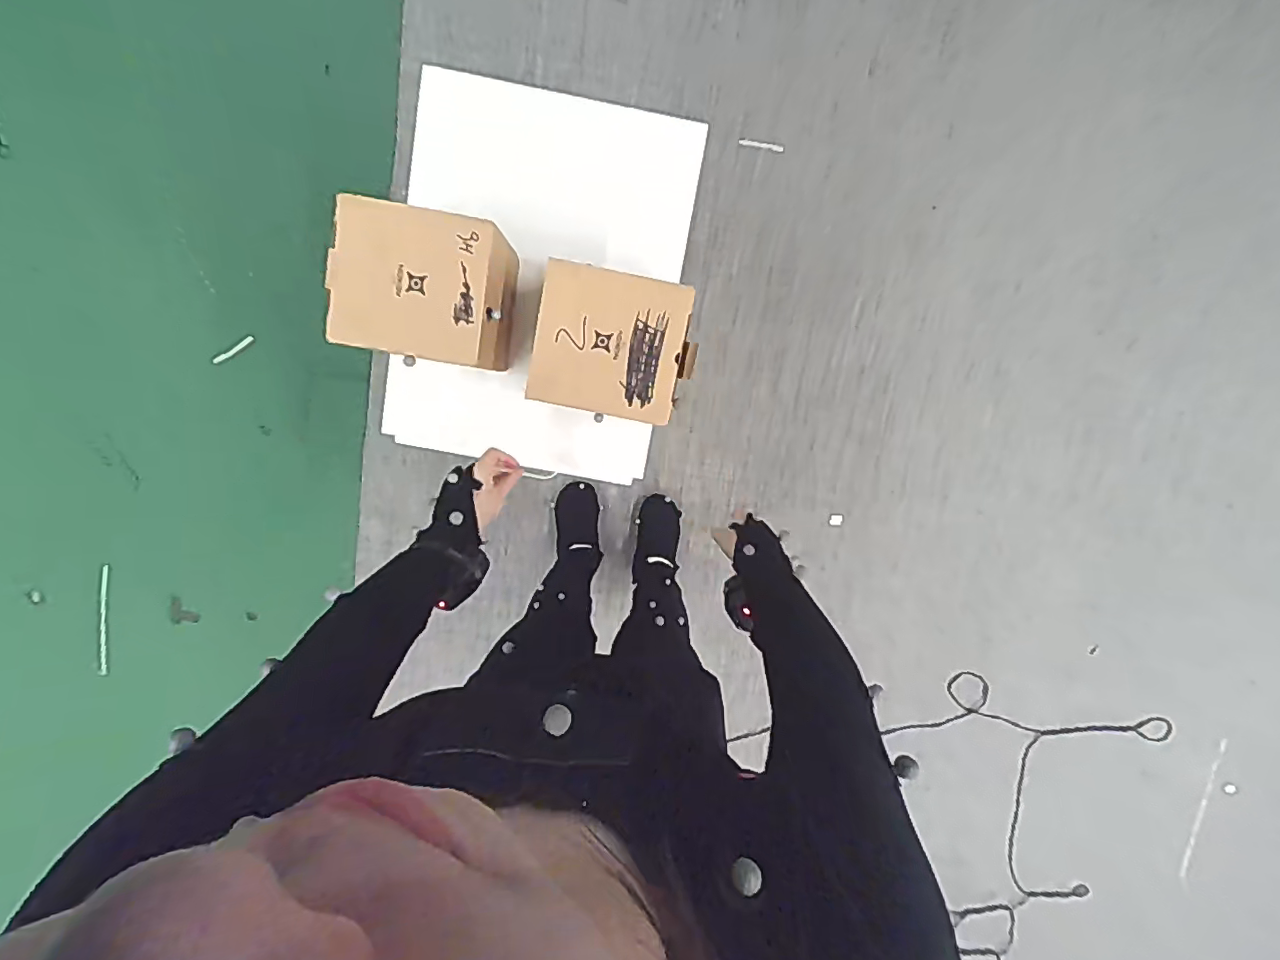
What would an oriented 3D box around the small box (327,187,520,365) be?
[{"bbox_3d":[-0.265,-0.245,0.694,0.179,0.176,0.168,9,98,-4],"label":"small box"}]
